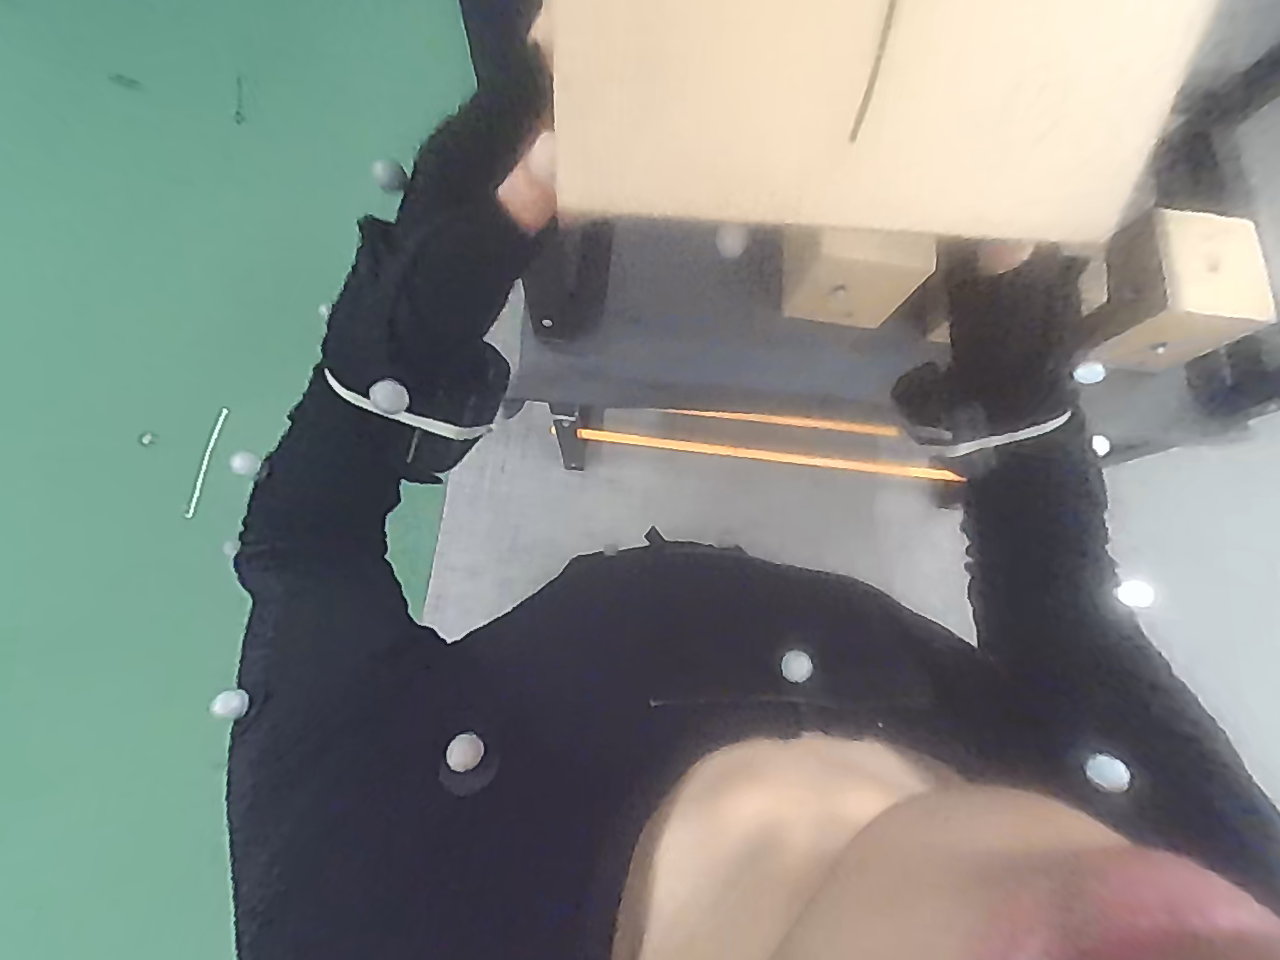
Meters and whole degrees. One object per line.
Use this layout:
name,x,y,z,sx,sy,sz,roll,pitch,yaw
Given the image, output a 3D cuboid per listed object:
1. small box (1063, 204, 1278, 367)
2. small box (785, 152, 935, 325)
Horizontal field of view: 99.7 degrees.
small box,0.822,-0.297,0.858,0.168,0.176,0.179,6,75,-3
small box,0.333,-0.365,0.845,0.168,0.176,0.179,7,75,-3
